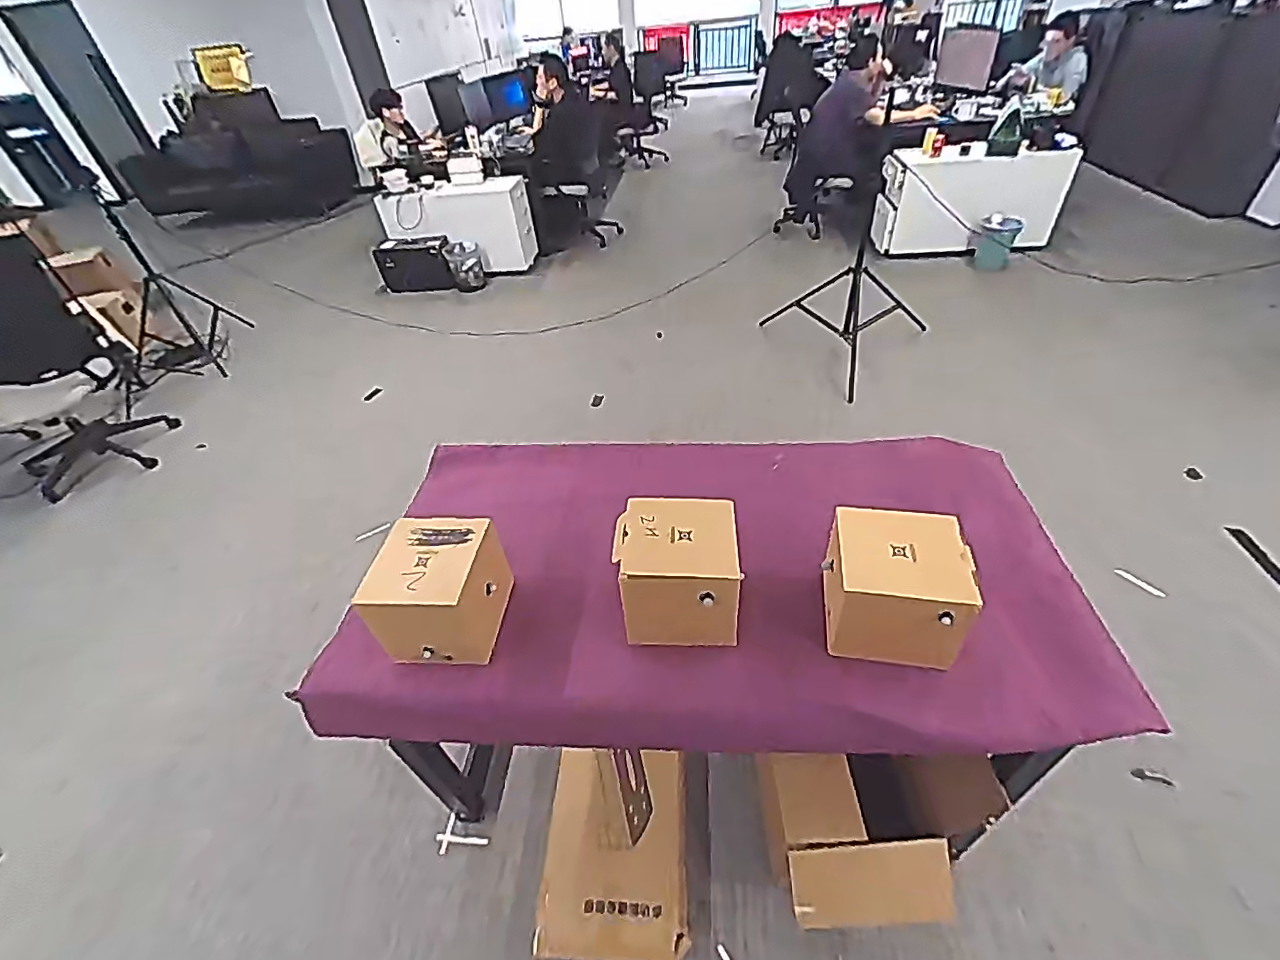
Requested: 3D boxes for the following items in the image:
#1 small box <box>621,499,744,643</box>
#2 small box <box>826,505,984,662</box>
[{"bbox_3d":[0.069,0.147,0.874,0.179,0.176,0.168,-1,39,6],"label":"small box"},{"bbox_3d":[0.384,0.158,0.824,0.179,0.176,0.168,4,42,11],"label":"small box"}]
